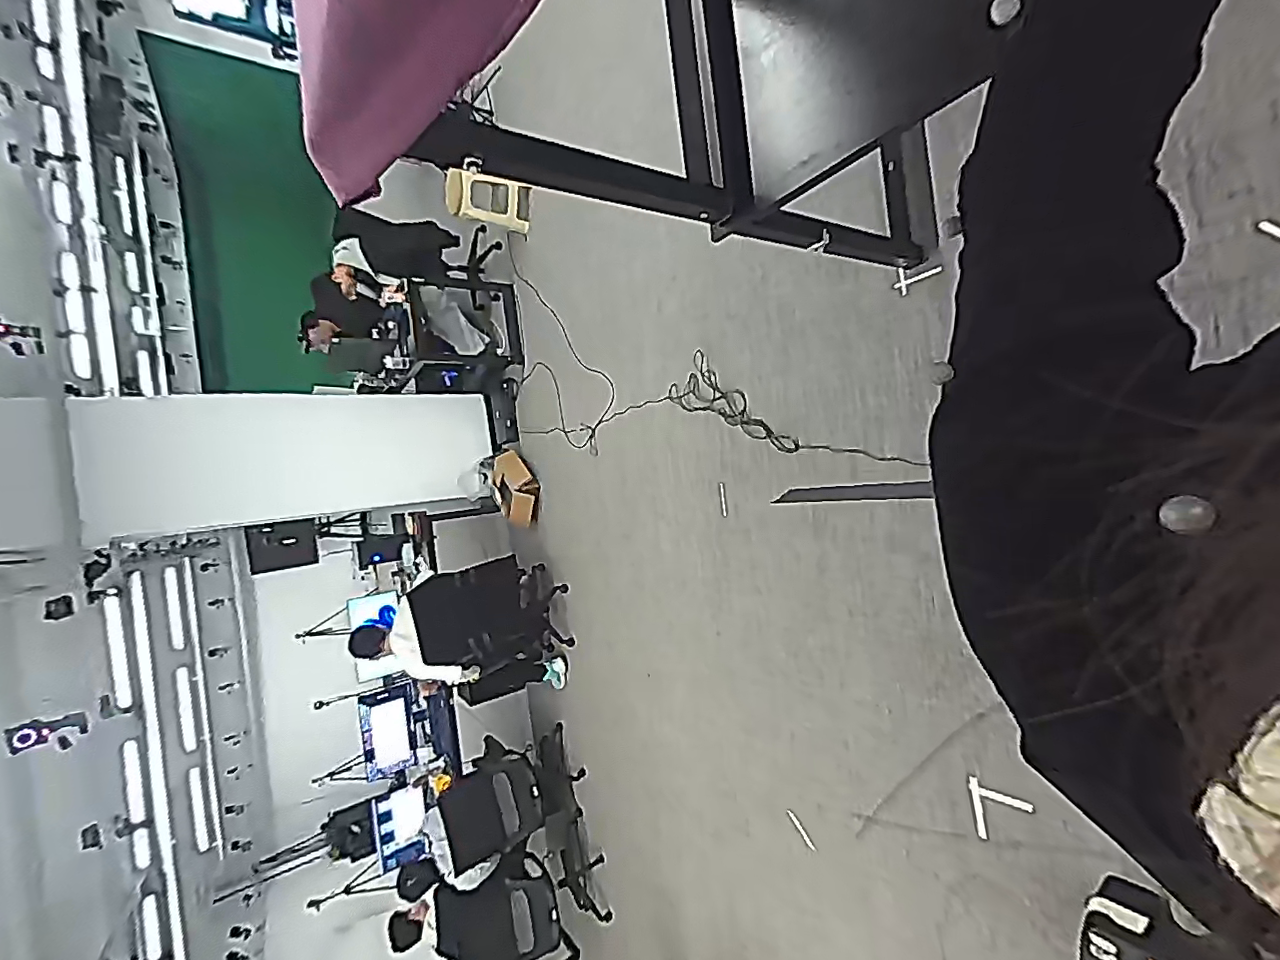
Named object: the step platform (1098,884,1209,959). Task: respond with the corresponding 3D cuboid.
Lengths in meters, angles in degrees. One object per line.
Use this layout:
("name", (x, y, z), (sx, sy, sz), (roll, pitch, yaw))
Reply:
("step platform", (1.239, 1.079, 0.940), (0.684, 0.204, 0.286), (3, 98, 55))
